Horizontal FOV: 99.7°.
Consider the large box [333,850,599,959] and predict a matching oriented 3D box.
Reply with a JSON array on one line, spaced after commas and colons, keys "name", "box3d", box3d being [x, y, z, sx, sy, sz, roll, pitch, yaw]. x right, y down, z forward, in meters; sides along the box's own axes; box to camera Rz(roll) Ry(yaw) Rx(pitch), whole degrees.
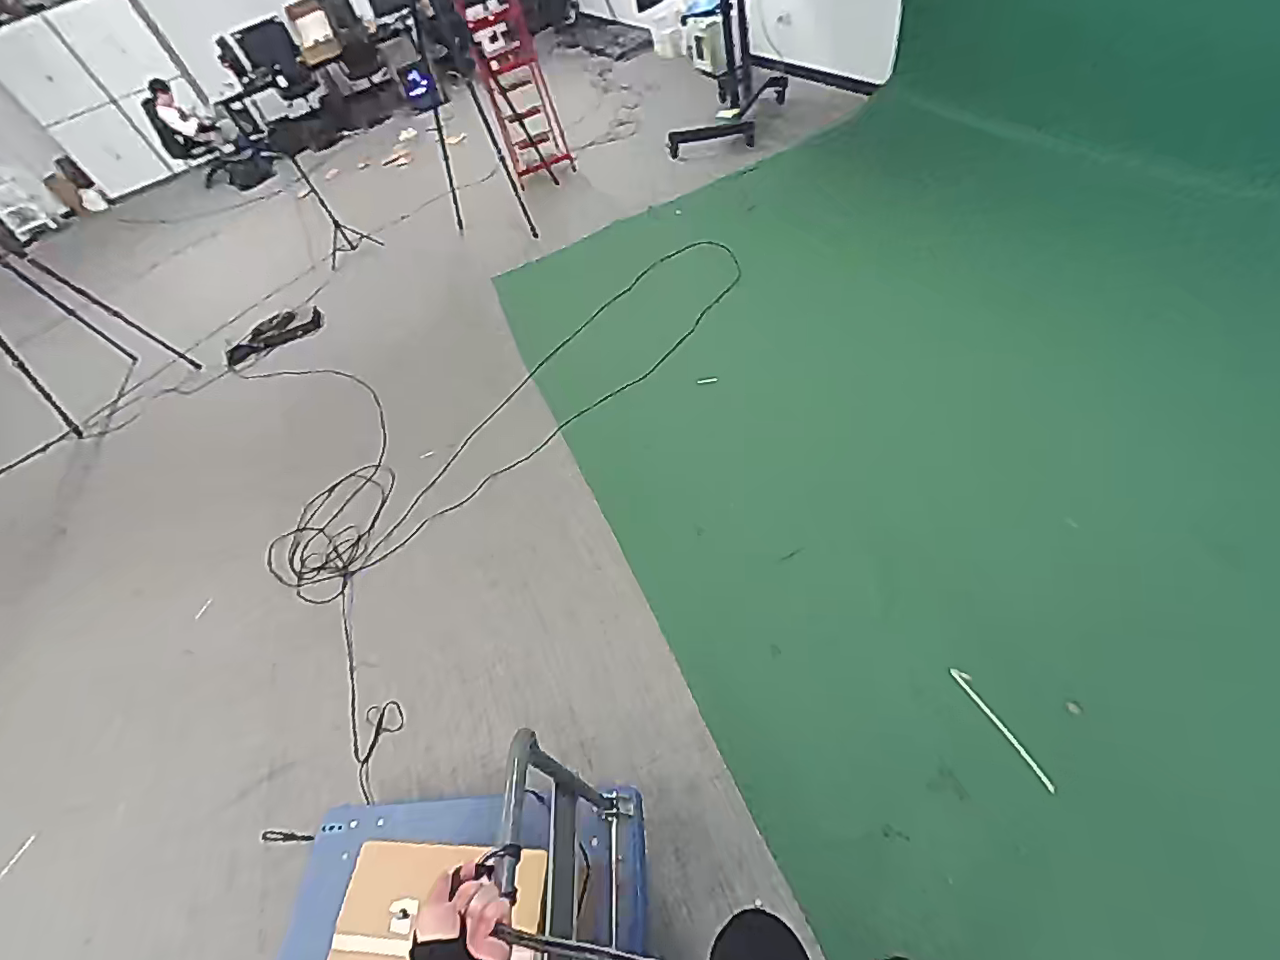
[{"name": "large box", "box3d": [-0.320, 0.919, 1.045, 0.408, 0.320, 0.320, -7, 50, 13]}]
